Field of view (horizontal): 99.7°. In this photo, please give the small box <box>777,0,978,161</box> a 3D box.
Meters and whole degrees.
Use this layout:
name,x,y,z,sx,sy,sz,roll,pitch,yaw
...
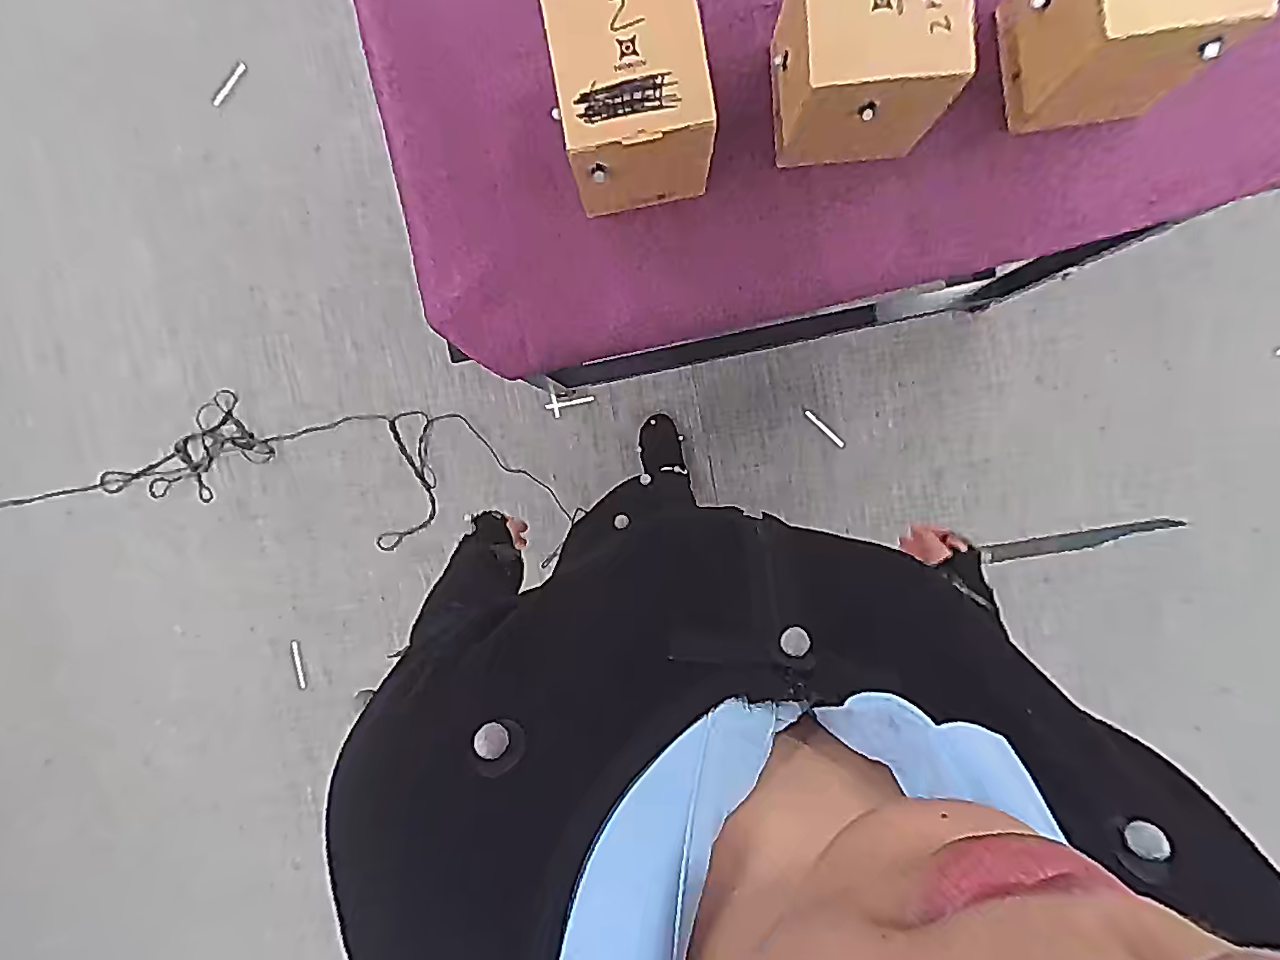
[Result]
name,x,y,z,sx,sy,sz,roll,pitch,yaw
small box,0.265,-0.507,0.644,0.179,0.176,0.168,-3,93,2

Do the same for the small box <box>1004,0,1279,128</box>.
name,x,y,z,sx,sy,sz,roll,pitch,yaw
small box,0.561,-0.549,0.634,0.179,0.176,0.168,-7,91,2
